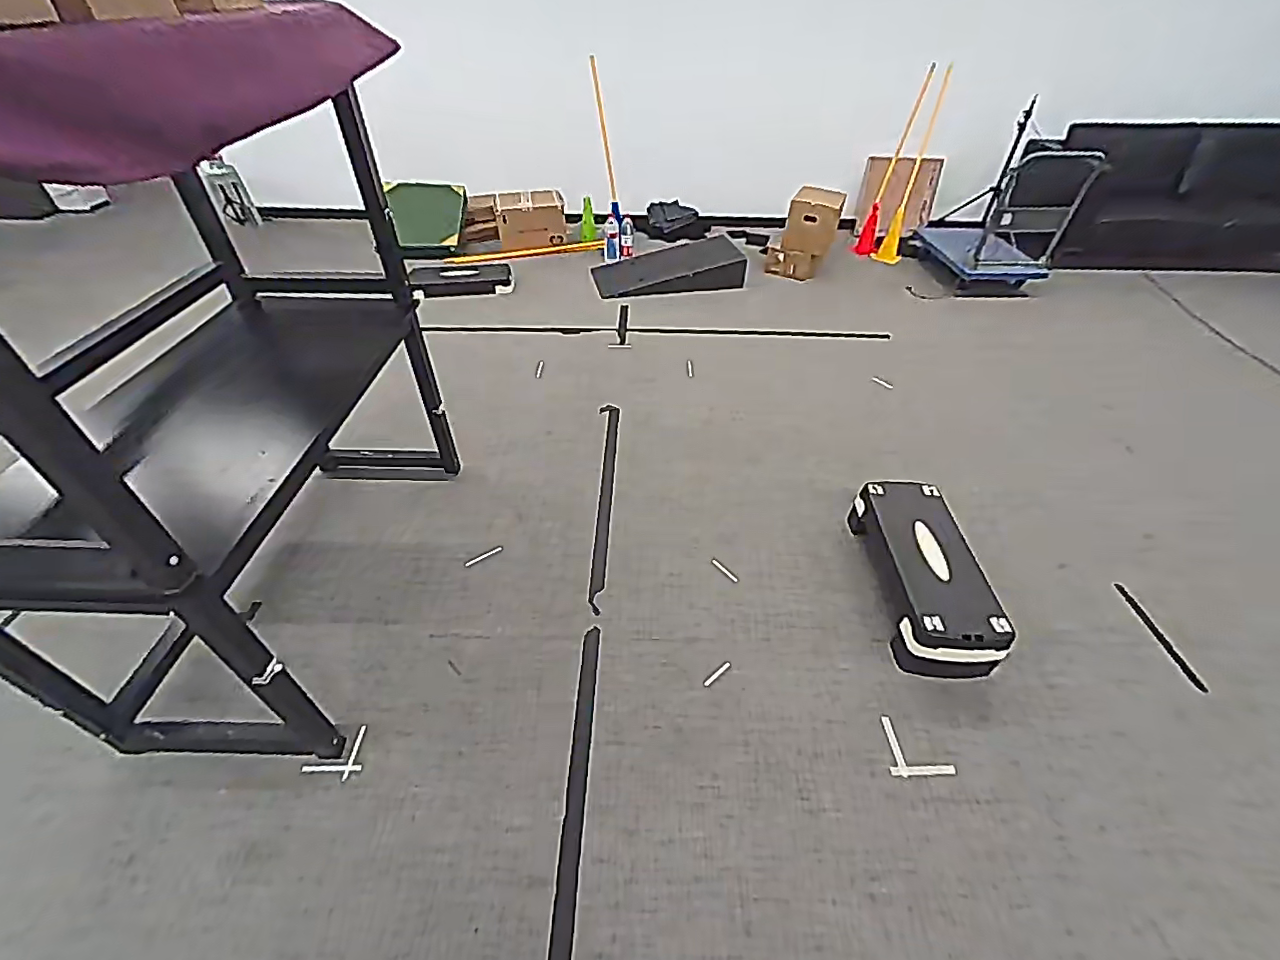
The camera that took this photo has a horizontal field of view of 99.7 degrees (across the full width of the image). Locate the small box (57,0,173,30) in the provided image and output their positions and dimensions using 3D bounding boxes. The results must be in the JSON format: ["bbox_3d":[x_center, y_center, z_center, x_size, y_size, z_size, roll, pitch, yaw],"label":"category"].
[{"bbox_3d":[-0.891,-0.820,0.843,0.168,0.176,0.179,5,43,5],"label":"small box"}]

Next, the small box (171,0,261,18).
[{"bbox_3d":[-0.921,-1.060,1.102,0.168,0.176,0.179,2,42,2],"label":"small box"}]

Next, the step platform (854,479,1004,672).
[{"bbox_3d":[0.942,0.281,1.825,0.286,0.204,0.684,5,41,4],"label":"step platform"}]
